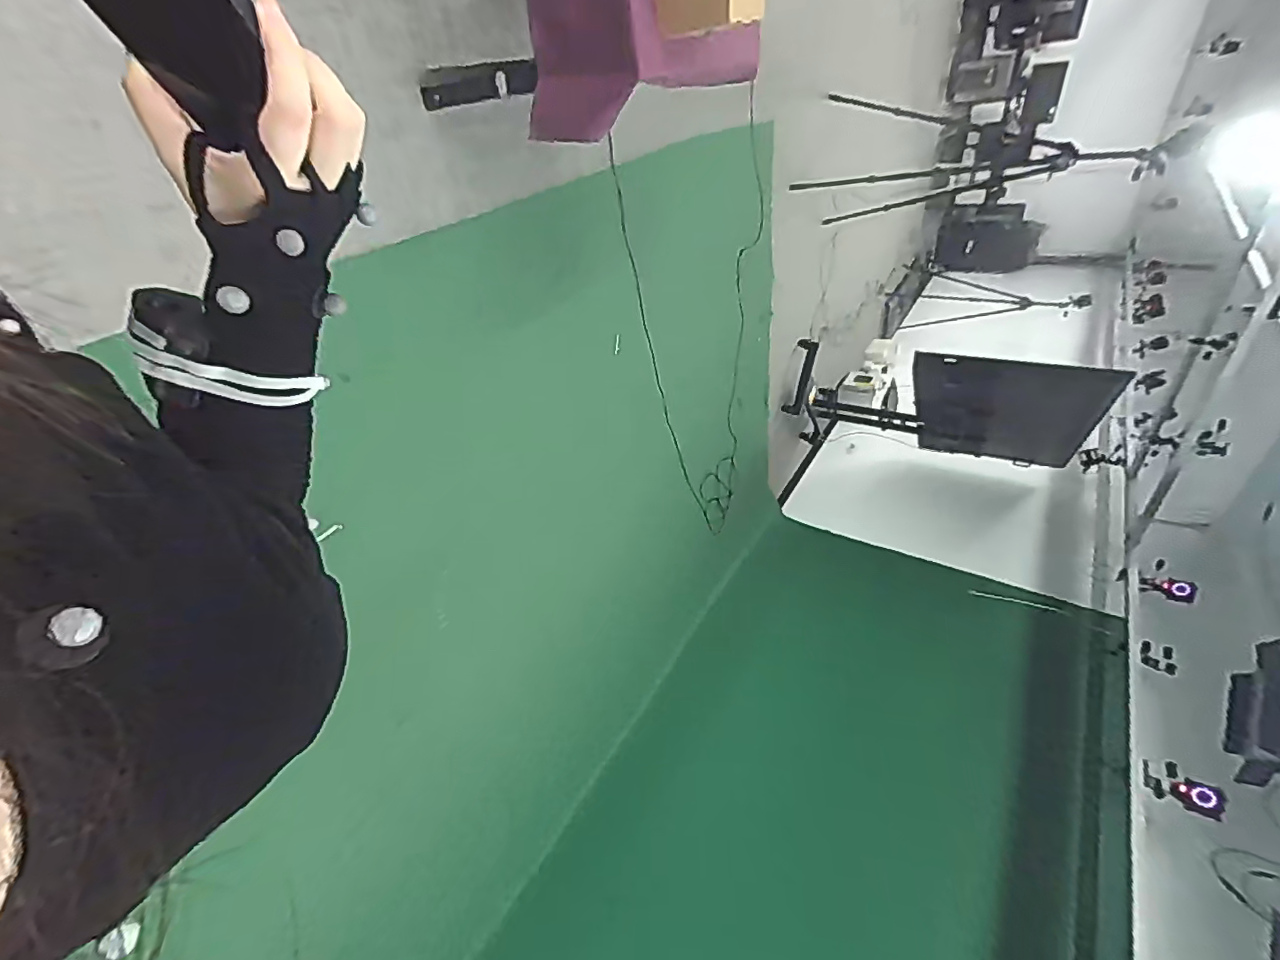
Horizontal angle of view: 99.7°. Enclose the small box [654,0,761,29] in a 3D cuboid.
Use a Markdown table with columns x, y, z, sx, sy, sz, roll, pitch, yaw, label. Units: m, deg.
| x | y | z | sx | sy | sz | roll | pitch | yaw | label |
| --- | --- | --- | --- | --- | --- | --- | --- | --- | --- |
| 0.133 | -1.034 | 1.092 | 0.168 | 0.176 | 0.179 | -47 | 140 | -38 | small box |
